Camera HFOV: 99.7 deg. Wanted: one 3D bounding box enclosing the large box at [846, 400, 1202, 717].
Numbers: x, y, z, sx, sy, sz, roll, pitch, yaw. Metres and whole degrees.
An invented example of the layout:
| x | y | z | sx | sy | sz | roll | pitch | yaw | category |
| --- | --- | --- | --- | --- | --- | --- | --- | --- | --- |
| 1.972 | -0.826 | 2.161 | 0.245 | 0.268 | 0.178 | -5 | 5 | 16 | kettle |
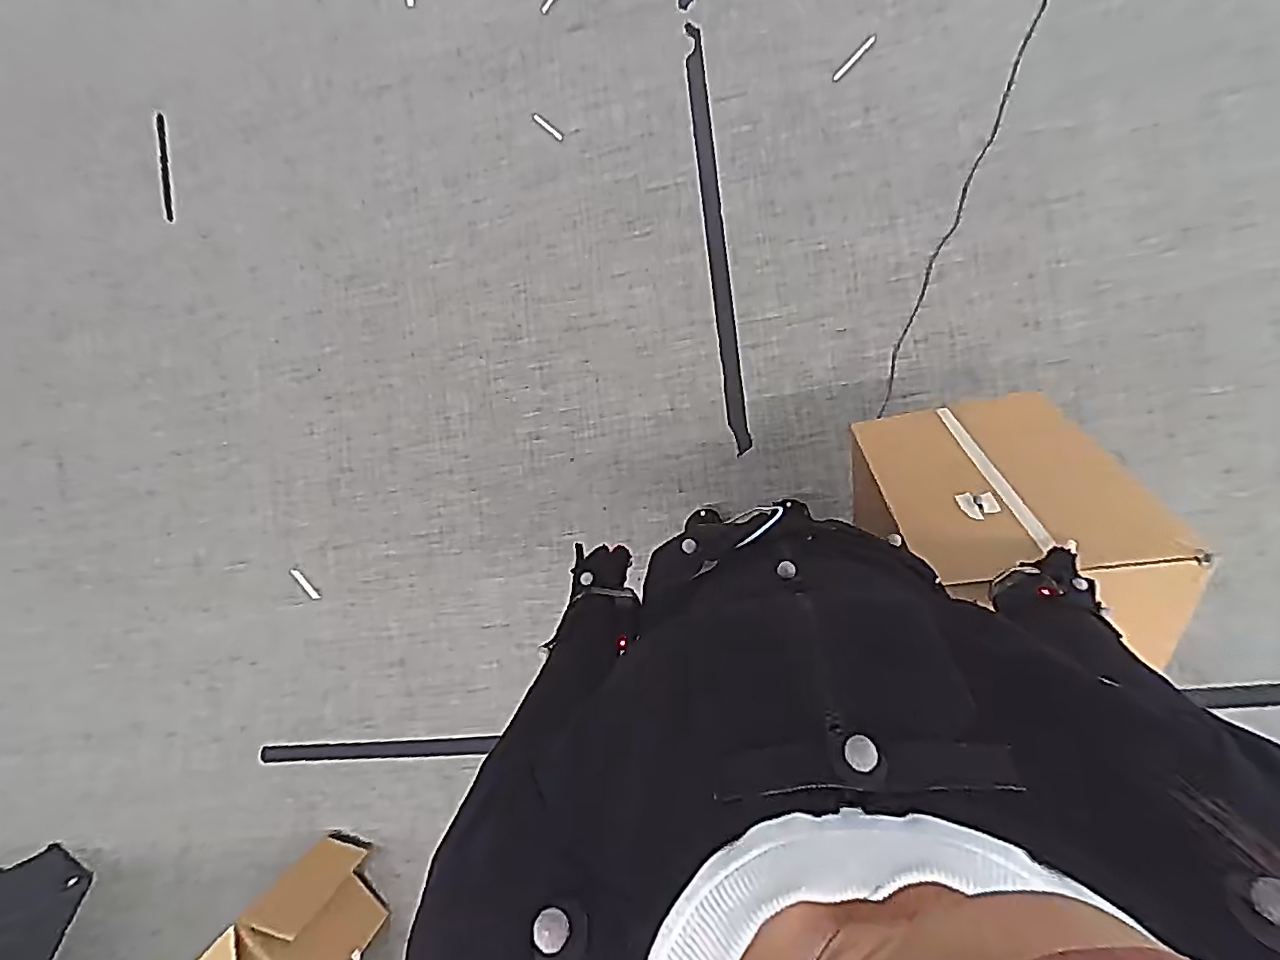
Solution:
| x | y | z | sx | sy | sz | roll | pitch | yaw | category |
| --- | --- | --- | --- | --- | --- | --- | --- | --- | --- |
| 0.550 | 0.118 | 0.895 | 0.320 | 0.408 | 0.320 | -10 | 126 | 12 | large box |
